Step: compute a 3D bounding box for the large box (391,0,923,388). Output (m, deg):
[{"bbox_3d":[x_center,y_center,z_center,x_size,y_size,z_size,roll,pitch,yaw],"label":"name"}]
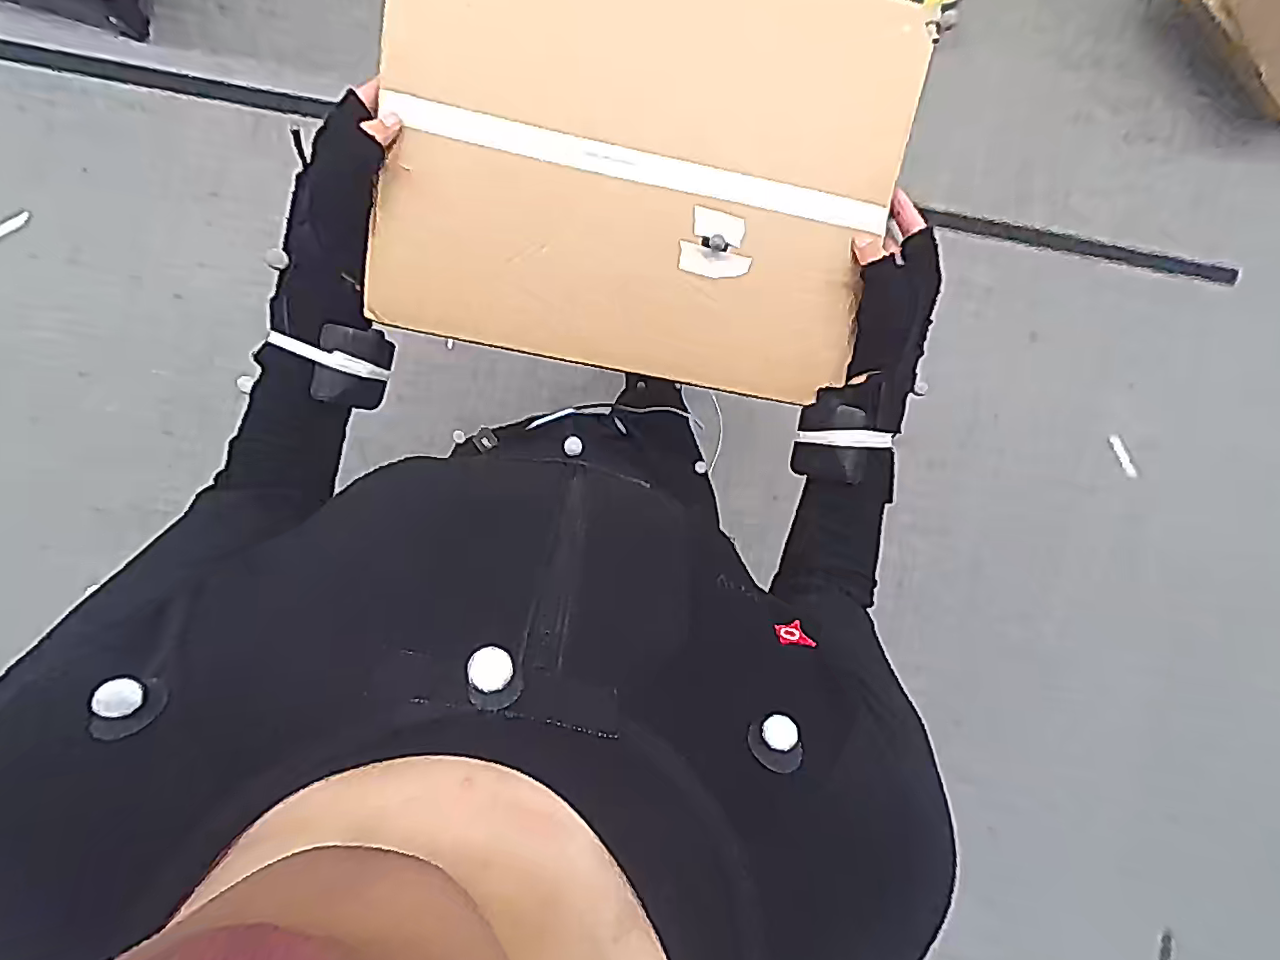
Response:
[{"bbox_3d":[-0.005,-0.293,0.585,0.408,0.320,0.320,9,104,-7],"label":"large box"}]
